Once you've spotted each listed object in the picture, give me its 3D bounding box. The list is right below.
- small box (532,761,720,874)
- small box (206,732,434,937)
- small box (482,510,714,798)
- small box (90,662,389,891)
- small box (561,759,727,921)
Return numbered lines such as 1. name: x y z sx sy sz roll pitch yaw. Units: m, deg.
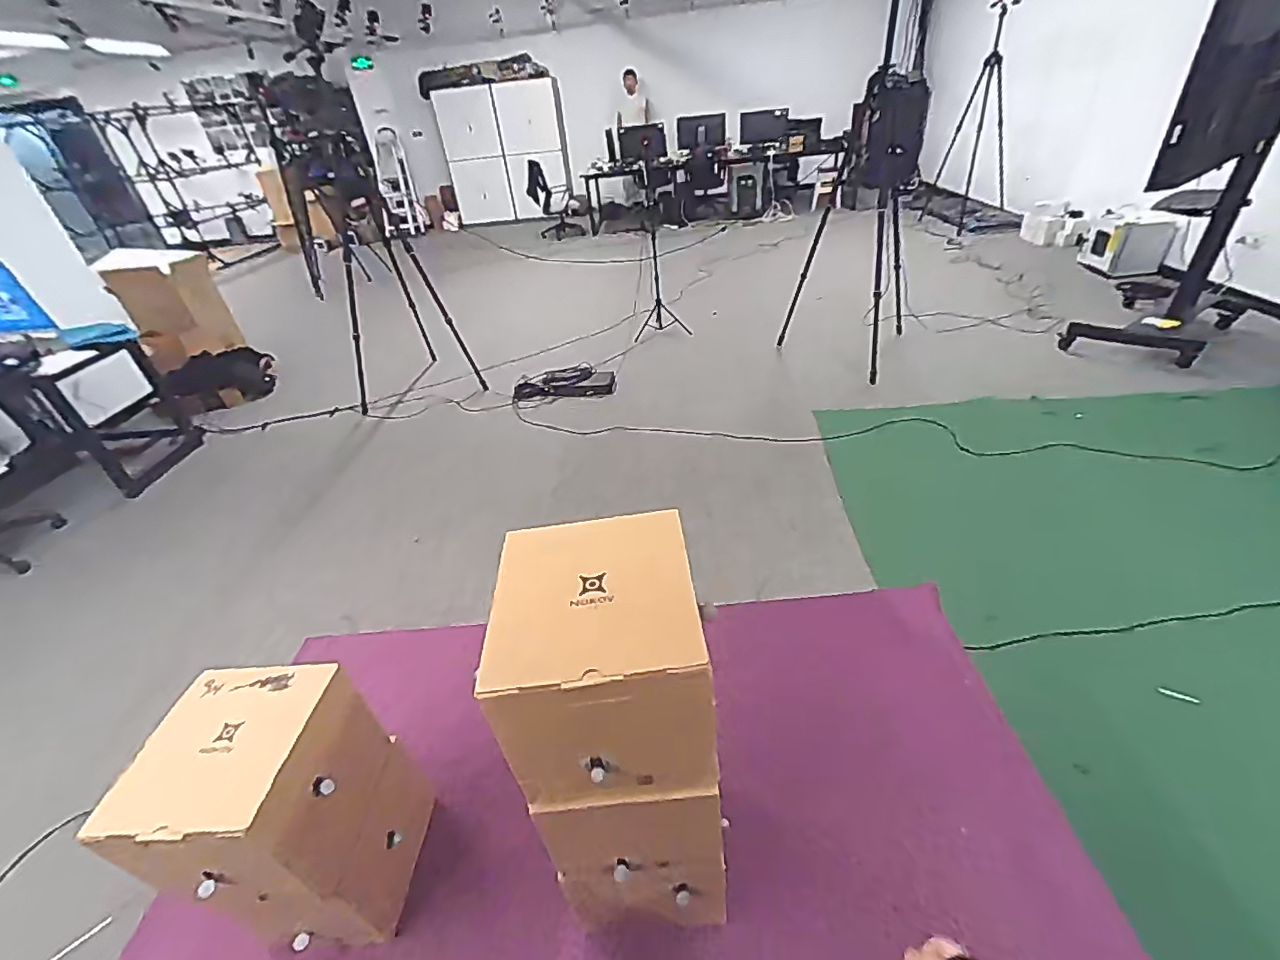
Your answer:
1. small box: -0.008 0.287 0.581 0.168 0.176 0.179 -7 36 2
2. small box: -0.387 0.454 0.698 0.168 0.176 0.179 -4 37 4
3. small box: -0.028 0.153 0.492 0.168 0.176 0.179 -8 36 0
4. small box: -0.408 0.327 0.596 0.168 0.176 0.179 -3 37 4
5. small box: 0.010 0.420 0.674 0.179 0.176 0.168 -6 35 3
